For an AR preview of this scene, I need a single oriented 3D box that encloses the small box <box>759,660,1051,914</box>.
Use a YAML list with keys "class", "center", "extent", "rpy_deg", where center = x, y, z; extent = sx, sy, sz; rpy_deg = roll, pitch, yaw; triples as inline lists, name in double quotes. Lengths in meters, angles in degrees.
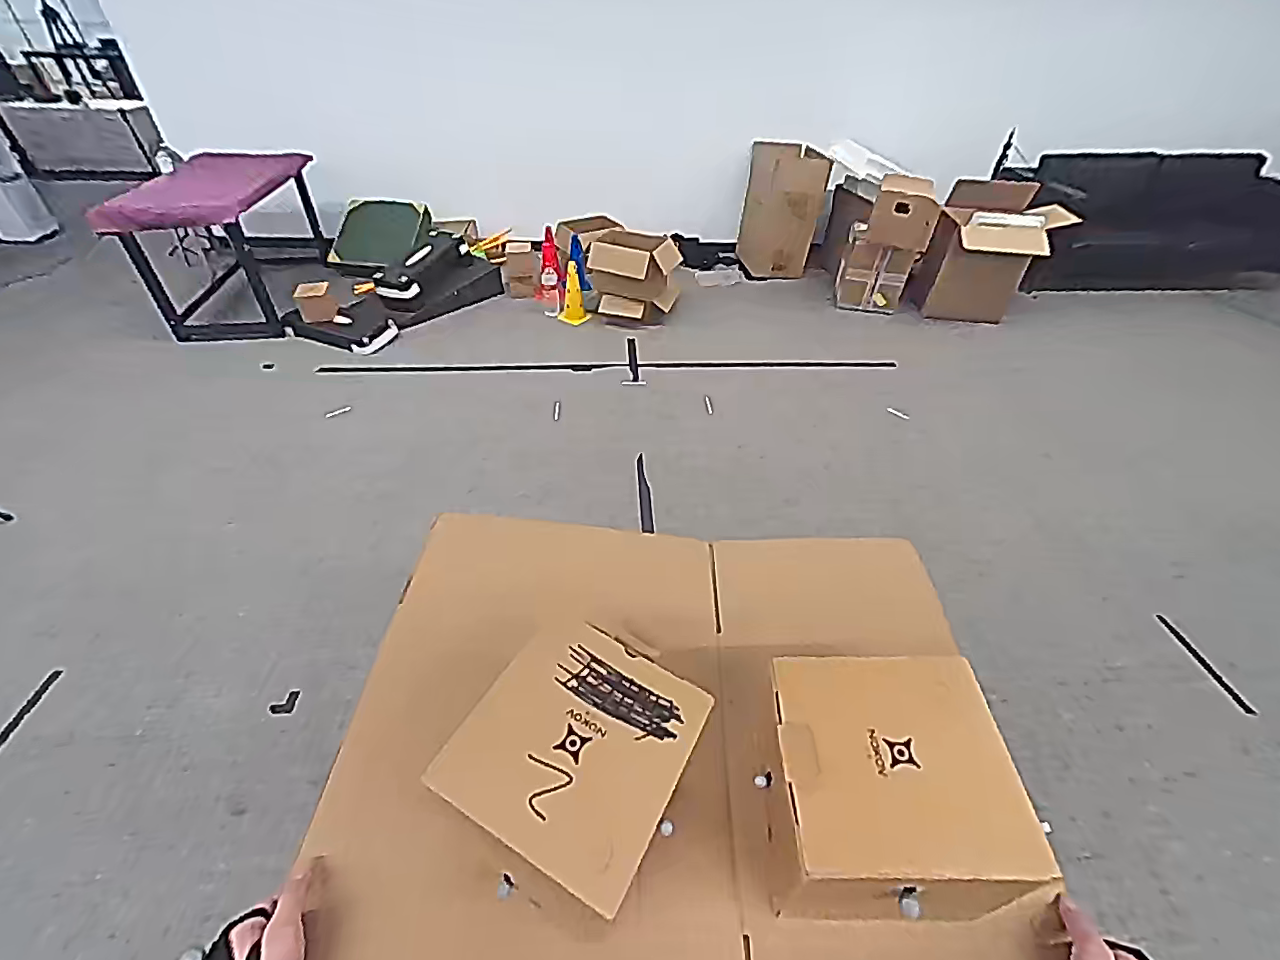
- class: "small box"
  center: [0.214, 0.283, 0.499]
  extent: [0.179, 0.176, 0.168]
  rpy_deg: [-2, 44, 4]
